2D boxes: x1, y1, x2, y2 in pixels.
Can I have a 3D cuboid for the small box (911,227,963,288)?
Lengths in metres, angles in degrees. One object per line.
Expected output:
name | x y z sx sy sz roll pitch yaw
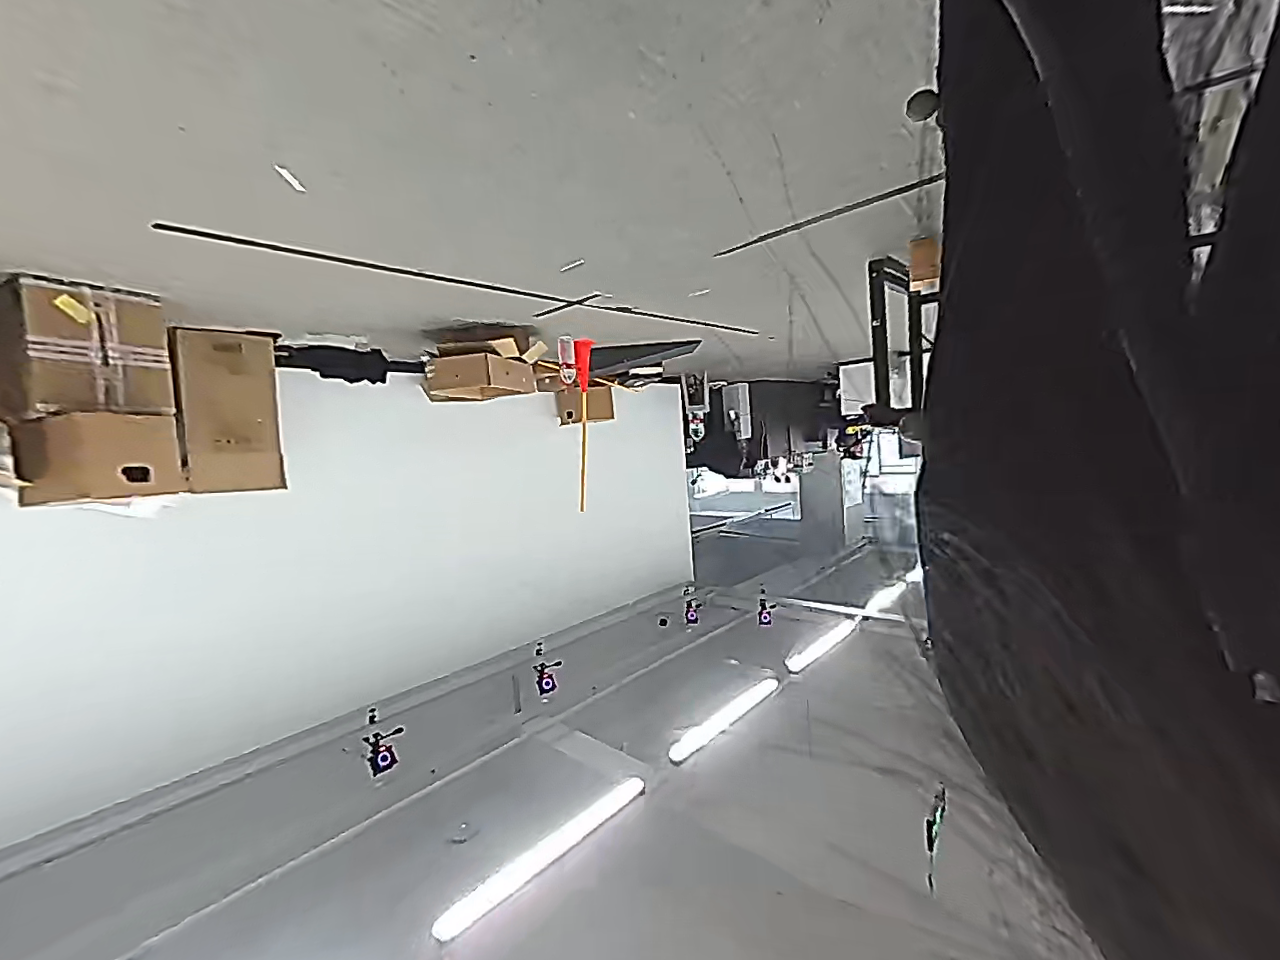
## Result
small box | 1.208 -0.907 2.210 0.179 0.176 0.168 -4 -176 26

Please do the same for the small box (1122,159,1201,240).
small box | 1.692 -0.910 1.759 0.179 0.176 0.168 0 -175 41
